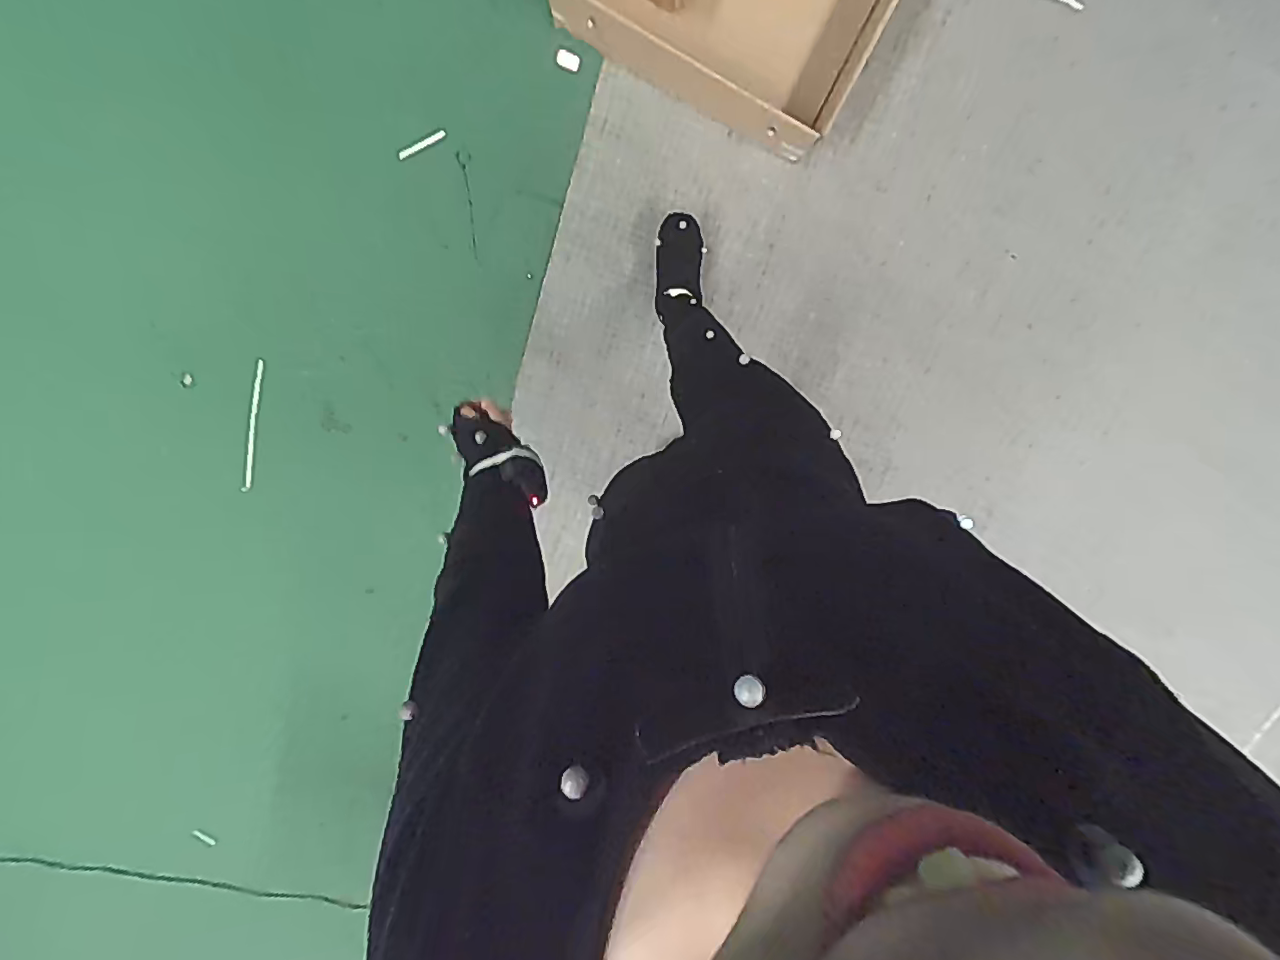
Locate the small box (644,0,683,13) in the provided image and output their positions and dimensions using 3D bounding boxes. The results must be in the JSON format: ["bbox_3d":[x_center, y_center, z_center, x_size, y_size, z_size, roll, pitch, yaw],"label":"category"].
[{"bbox_3d":[0.028,-1.024,0.998,0.179,0.176,0.168,24,108,-8],"label":"small box"}]
